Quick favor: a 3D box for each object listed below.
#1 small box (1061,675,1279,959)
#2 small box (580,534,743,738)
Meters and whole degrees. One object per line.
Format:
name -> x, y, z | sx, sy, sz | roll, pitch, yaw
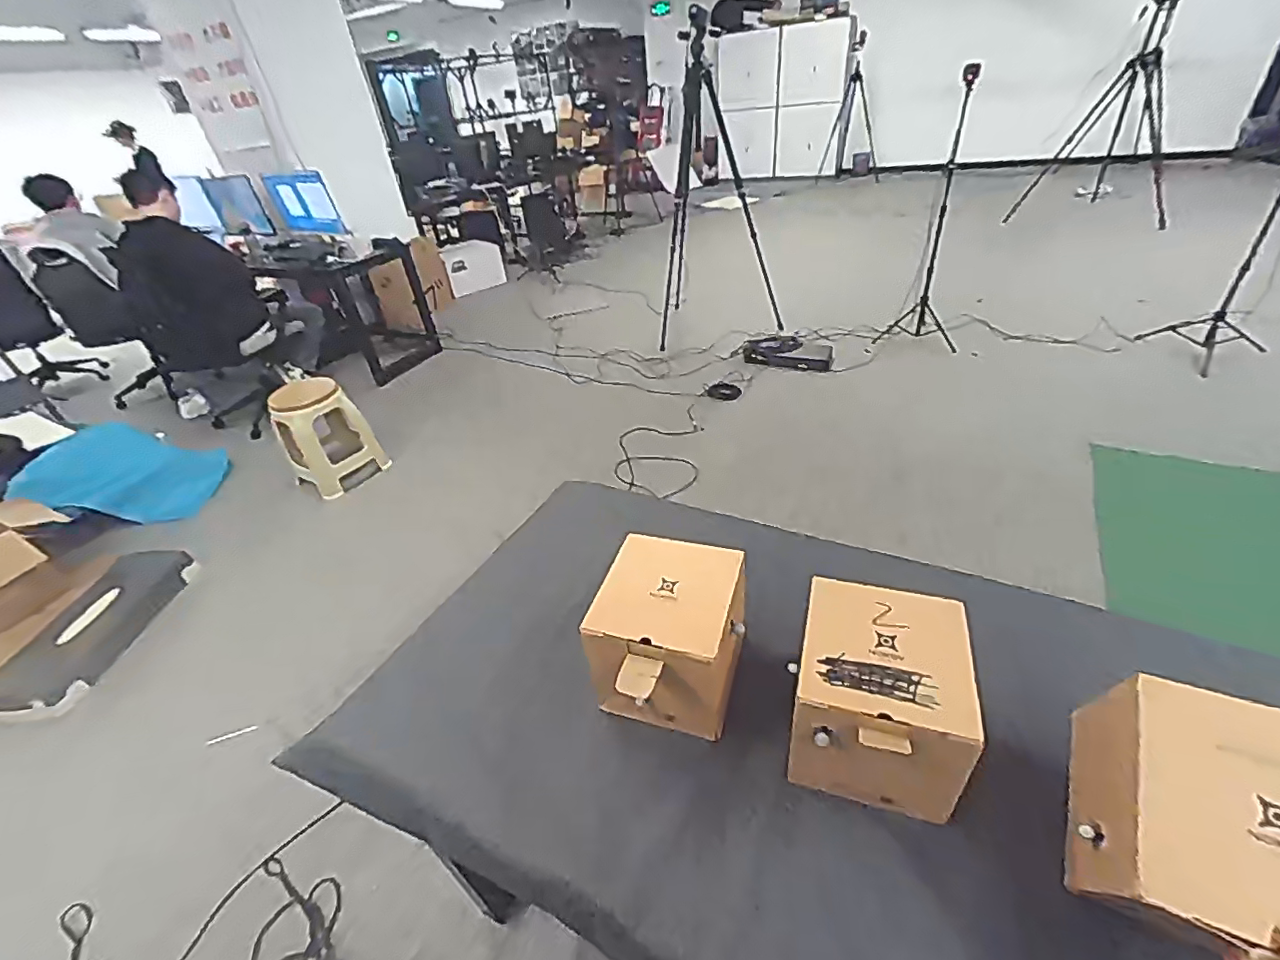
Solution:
small box -> 0.489, 0.298, 0.462 | 0.168, 0.176, 0.179 | 12, 60, 25
small box -> 0.037, 0.201, 0.716 | 0.168, 0.176, 0.179 | 7, 39, 18
